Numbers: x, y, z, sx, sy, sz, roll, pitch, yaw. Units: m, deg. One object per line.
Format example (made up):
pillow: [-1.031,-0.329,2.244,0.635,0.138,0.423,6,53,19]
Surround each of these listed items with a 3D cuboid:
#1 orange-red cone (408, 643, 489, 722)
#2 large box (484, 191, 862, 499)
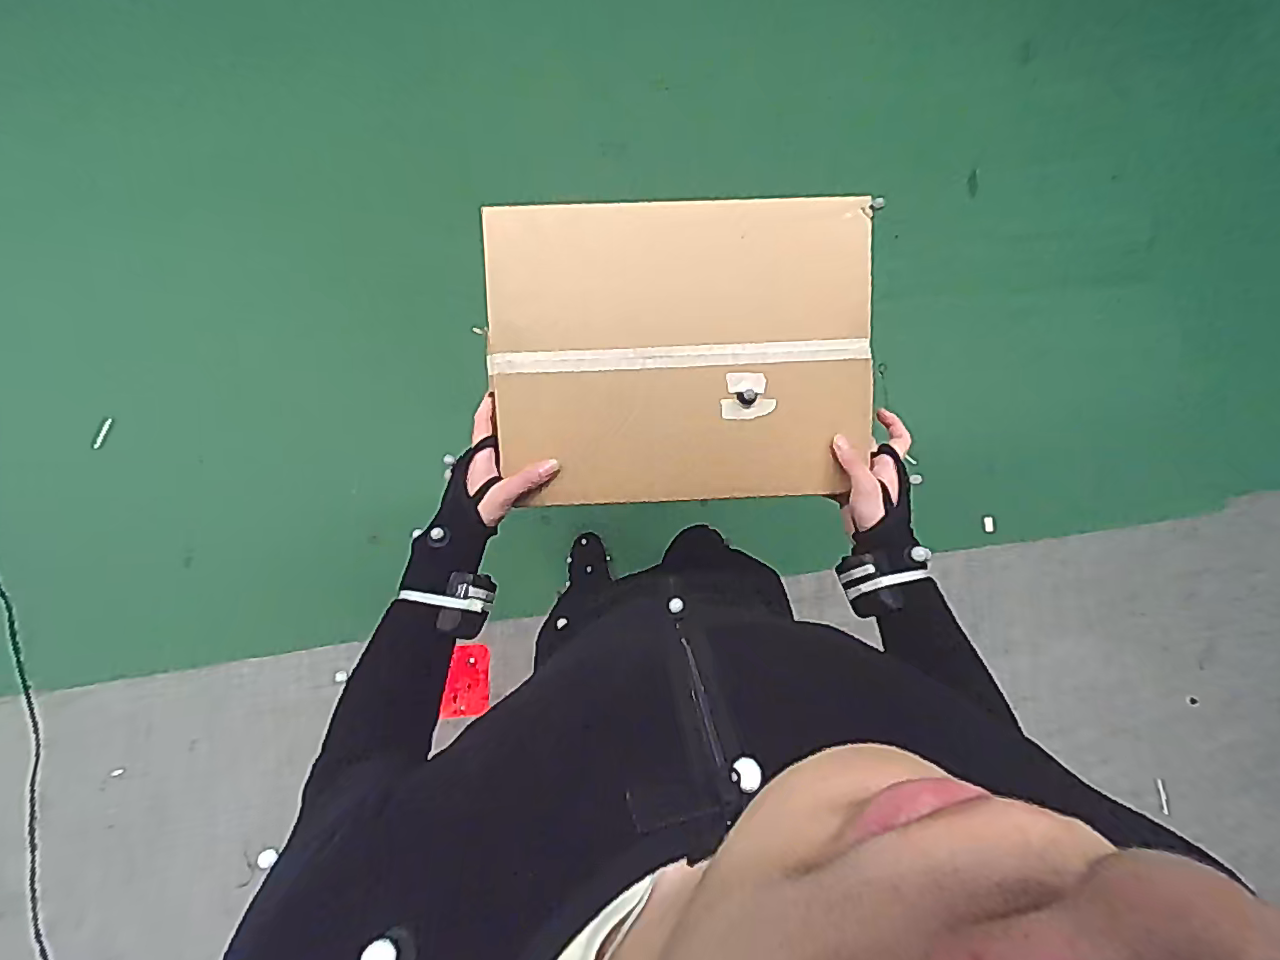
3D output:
orange-red cone: [-0.517,0.542,1.369,0.199,0.360,0.198,0,82,-5]
large box: [0.036,-0.159,0.731,0.408,0.320,0.320,-3,97,-2]
